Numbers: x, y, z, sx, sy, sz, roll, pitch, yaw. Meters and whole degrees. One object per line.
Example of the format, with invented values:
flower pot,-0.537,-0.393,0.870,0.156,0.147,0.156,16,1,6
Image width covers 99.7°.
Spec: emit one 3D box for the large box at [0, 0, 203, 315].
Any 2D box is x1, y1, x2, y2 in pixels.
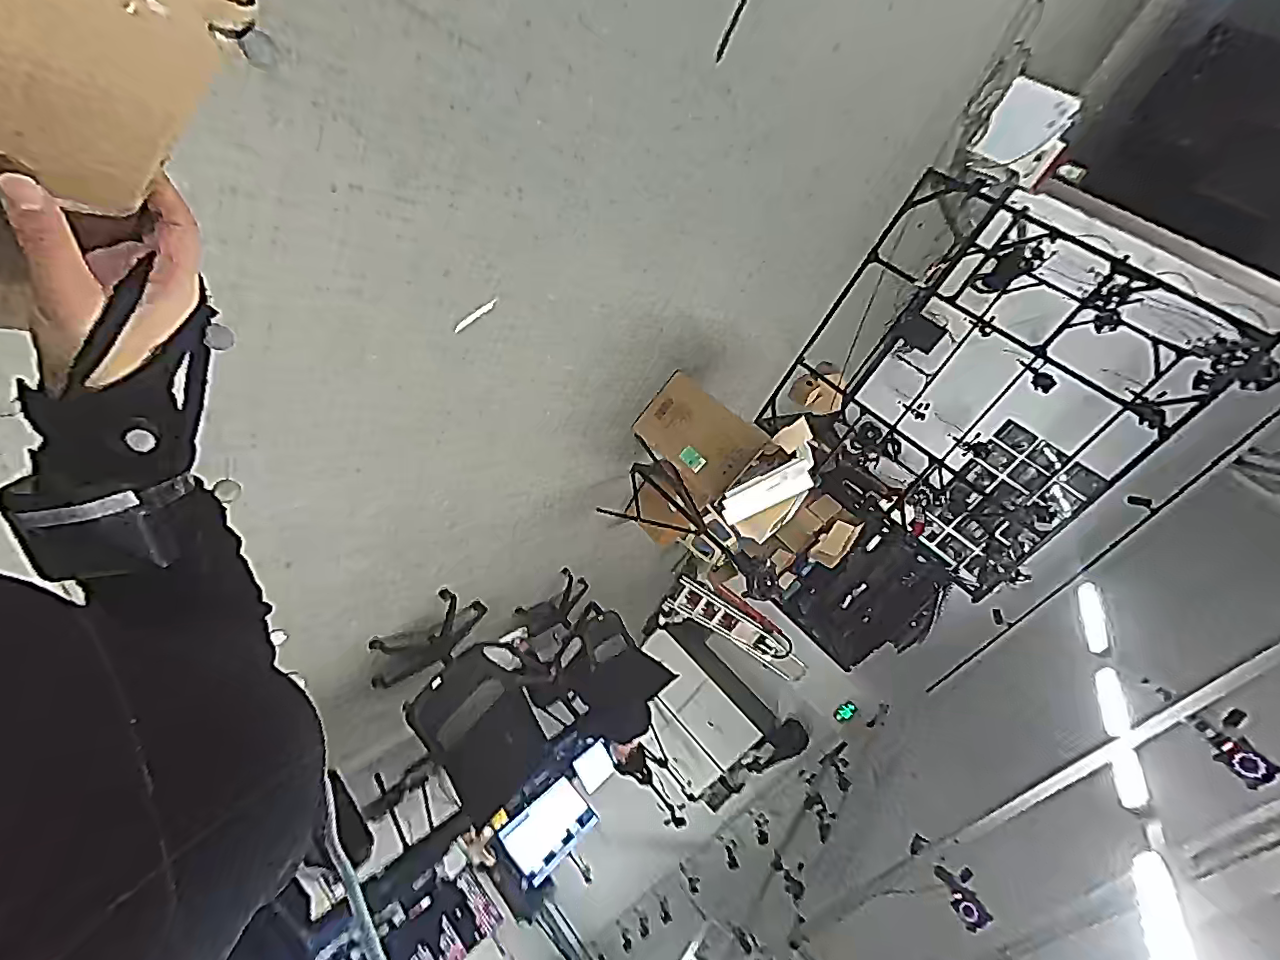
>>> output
large box,-0.416,-0.269,0.116,0.320,0.320,0.408,-15,177,33
